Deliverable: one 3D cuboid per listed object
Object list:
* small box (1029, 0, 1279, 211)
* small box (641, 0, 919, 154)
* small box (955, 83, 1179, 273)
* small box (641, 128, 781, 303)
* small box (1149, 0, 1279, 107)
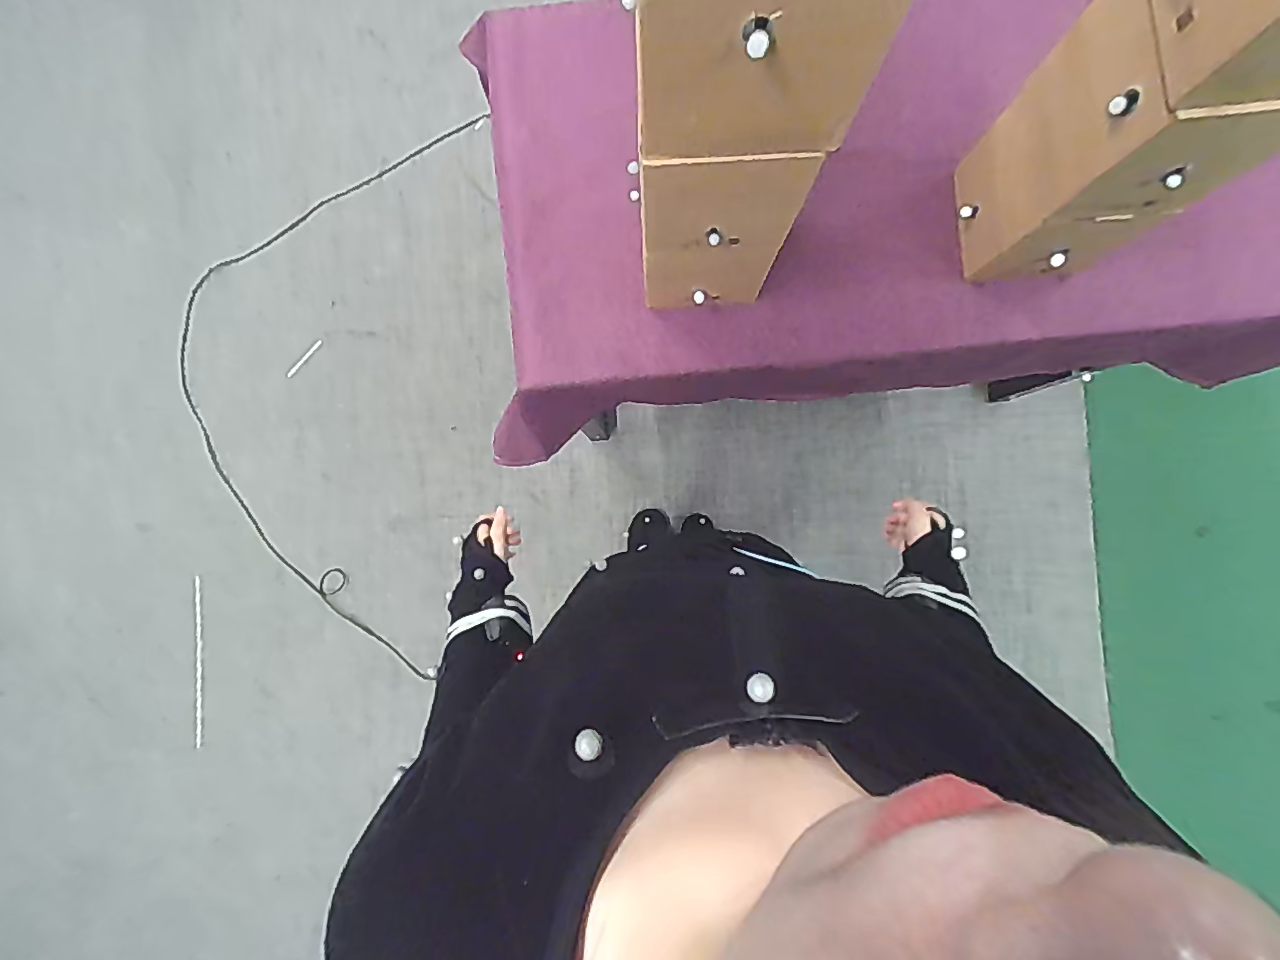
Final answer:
[{"bbox_3d":[0.543,-0.400,0.557,0.168,0.176,0.179,-4,87,1],"label":"small box"},{"bbox_3d":[0.088,-0.374,0.404,0.179,0.176,0.168,-1,88,2],"label":"small box"},{"bbox_3d":[0.551,-0.391,0.722,0.168,0.176,0.179,-4,87,1],"label":"small box"},{"bbox_3d":[0.086,-0.357,0.731,0.168,0.176,0.179,-2,88,1],"label":"small box"},{"bbox_3d":[0.535,-0.413,0.394,0.179,0.176,0.168,-4,86,2],"label":"small box"}]
